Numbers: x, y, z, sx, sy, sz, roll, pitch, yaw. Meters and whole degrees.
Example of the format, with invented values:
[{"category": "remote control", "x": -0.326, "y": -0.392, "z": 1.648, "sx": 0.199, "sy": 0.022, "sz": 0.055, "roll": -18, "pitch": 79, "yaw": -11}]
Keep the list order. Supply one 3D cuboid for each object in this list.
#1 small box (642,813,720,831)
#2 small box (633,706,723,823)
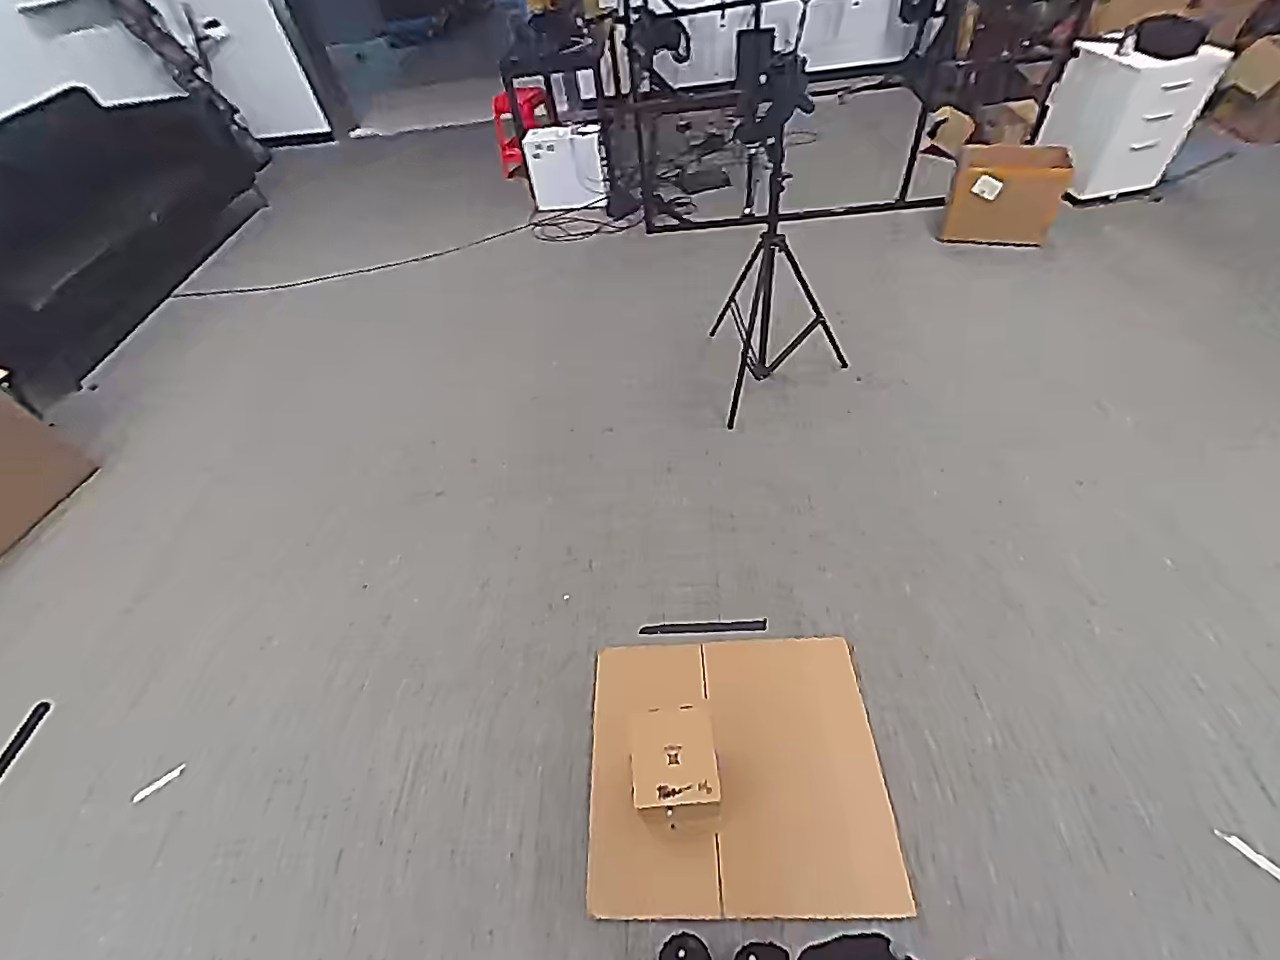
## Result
[{"category": "small box", "x": 0.093, "y": 0.693, "z": 1.237, "sx": 0.168, "sy": 0.176, "sz": 0.179, "roll": -5, "pitch": 50, "yaw": 3}, {"category": "small box", "x": 0.076, "y": 0.586, "z": 1.113, "sx": 0.168, "sy": 0.176, "sz": 0.179, "roll": -6, "pitch": 49, "yaw": 3}]
